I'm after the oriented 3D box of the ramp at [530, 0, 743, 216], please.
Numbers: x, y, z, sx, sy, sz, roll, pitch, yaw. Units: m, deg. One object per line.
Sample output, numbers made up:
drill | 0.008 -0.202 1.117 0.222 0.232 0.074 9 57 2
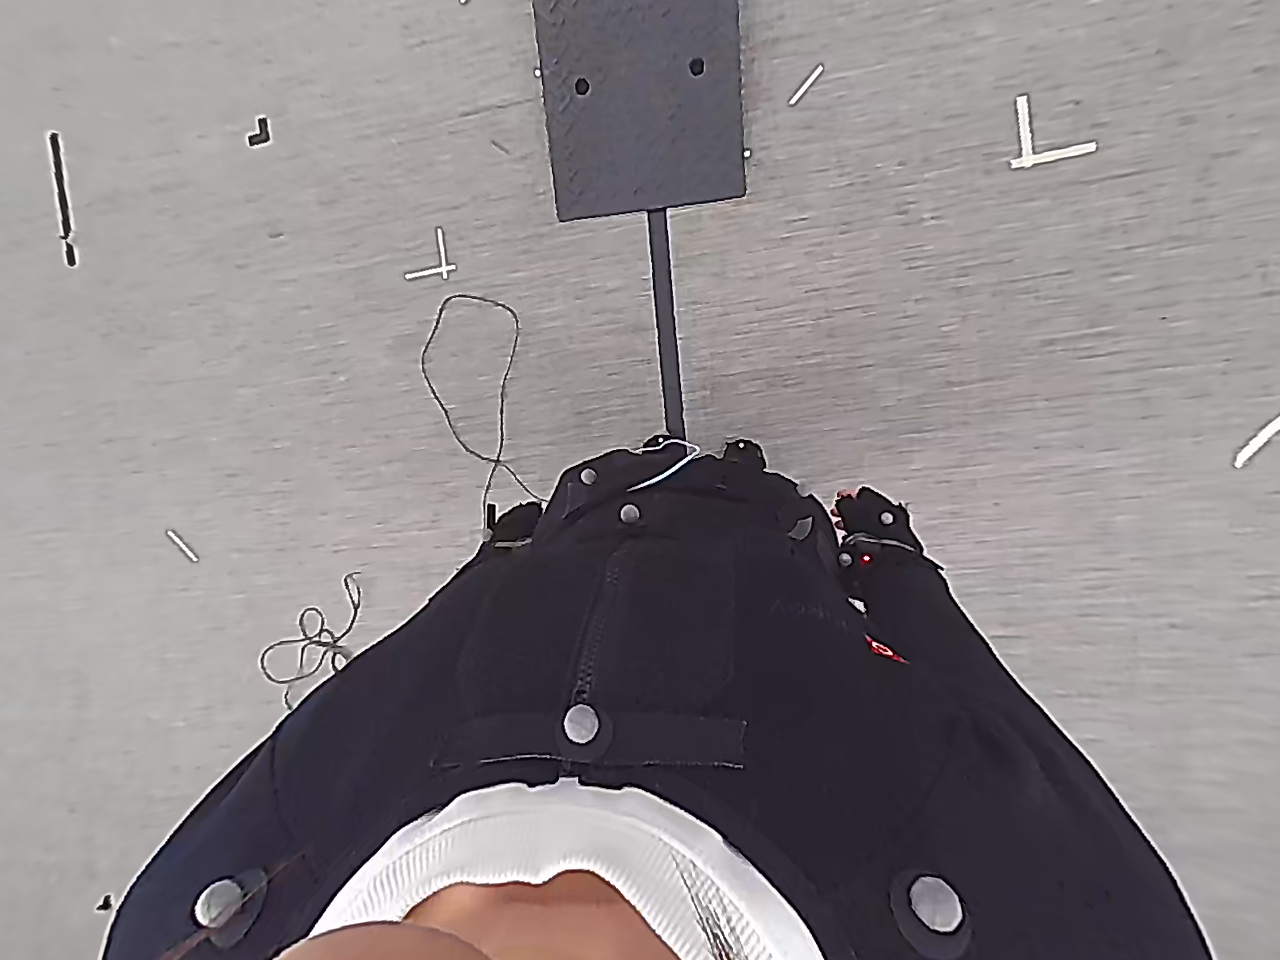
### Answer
ramp | -0.025 -1.188 1.262 0.509 0.206 0.991 -5 95 9
